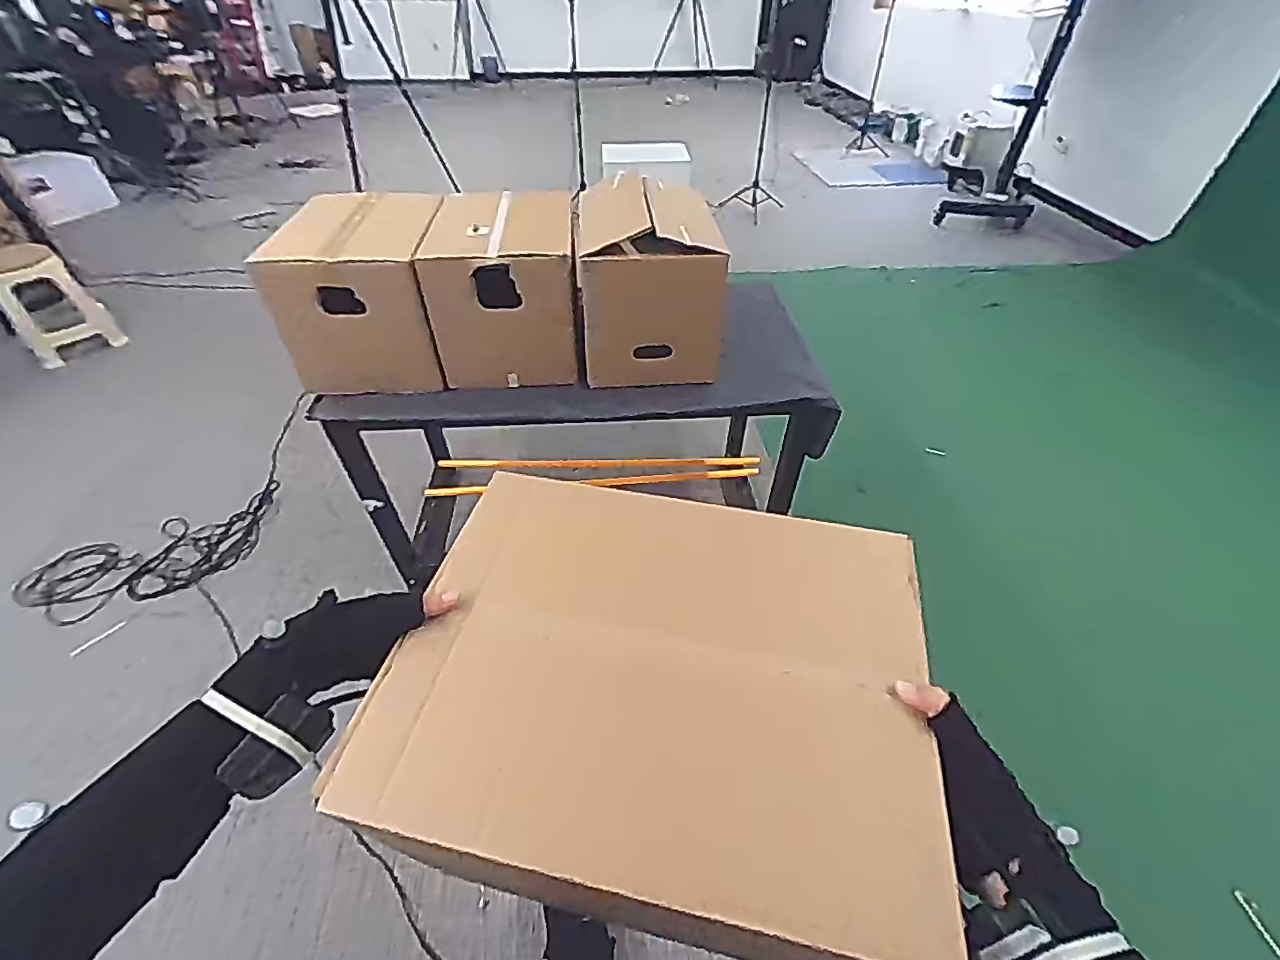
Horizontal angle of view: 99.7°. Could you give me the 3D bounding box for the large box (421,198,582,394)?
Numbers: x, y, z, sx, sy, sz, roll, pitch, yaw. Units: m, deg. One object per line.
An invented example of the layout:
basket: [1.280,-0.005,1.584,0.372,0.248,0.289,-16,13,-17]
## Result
large box: [-0.307,-0.457,1.324,0.320,0.320,0.408,-4,45,-4]
